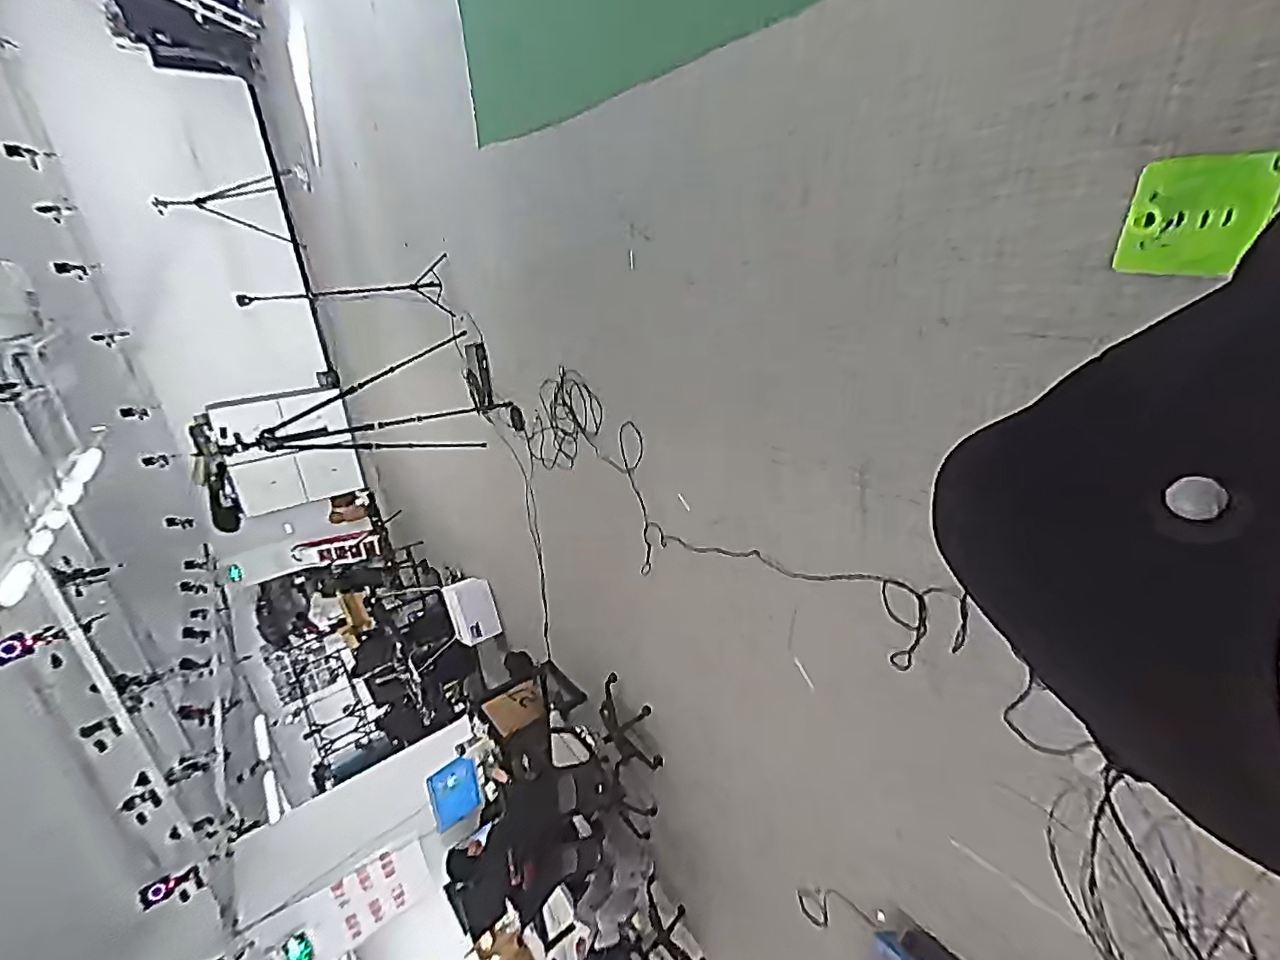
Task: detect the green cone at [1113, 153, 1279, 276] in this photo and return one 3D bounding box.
[{"bbox_3d":[0.906,-0.443,0.925,0.200,0.368,0.202,26,127,47],"label":"green cone"}]
